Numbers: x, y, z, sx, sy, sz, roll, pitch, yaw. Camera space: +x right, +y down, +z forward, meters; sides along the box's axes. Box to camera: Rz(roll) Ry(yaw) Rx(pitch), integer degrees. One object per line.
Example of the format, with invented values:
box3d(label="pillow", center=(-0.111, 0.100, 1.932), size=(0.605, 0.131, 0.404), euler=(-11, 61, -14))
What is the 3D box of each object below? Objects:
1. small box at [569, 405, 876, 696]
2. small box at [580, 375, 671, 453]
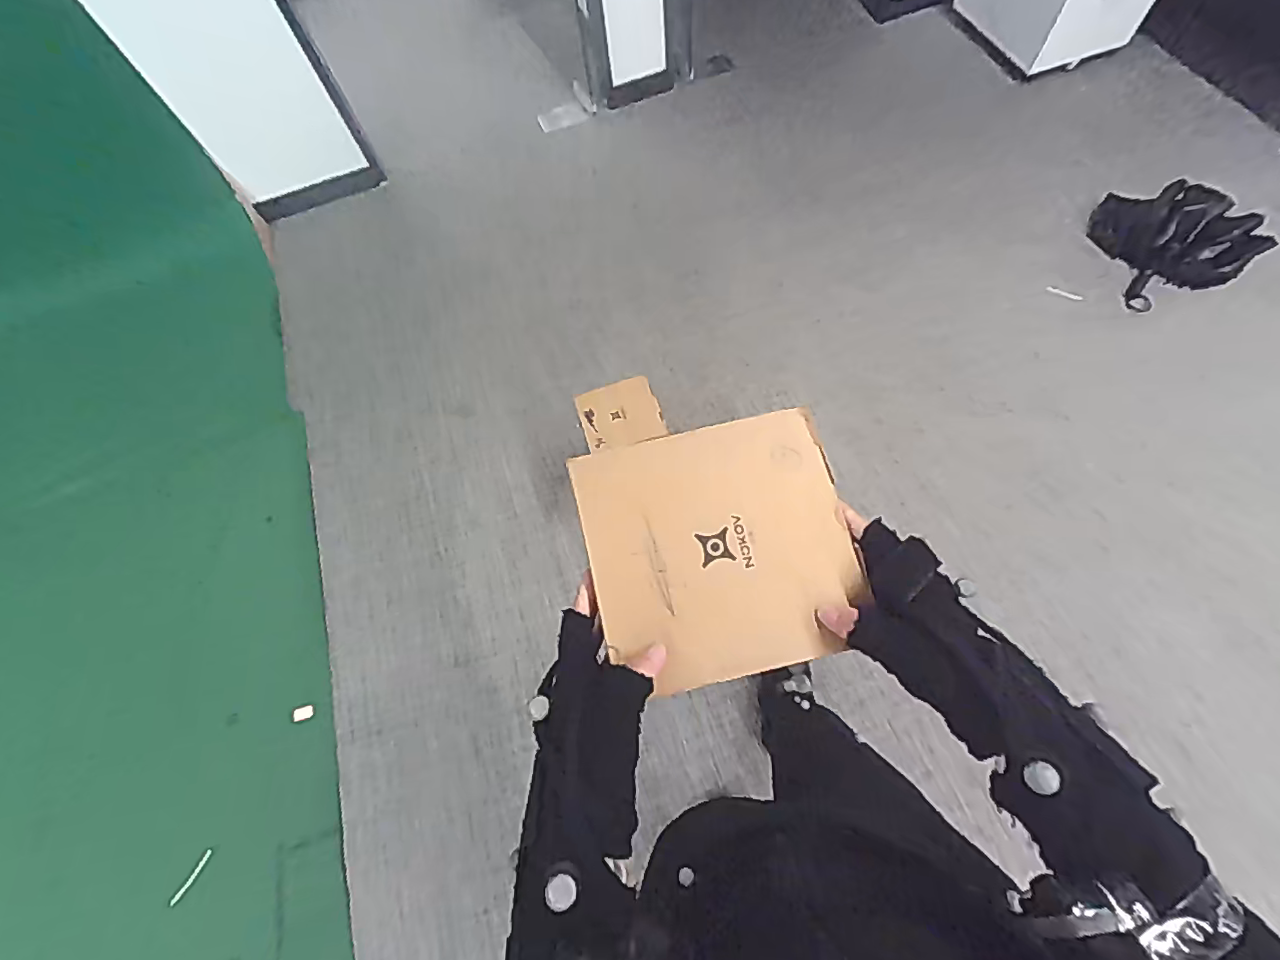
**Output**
box3d(label="small box", center=(0.054, 0.062, 0.443), size=(0.179, 0.176, 0.168), euler=(-15, 74, -2))
box3d(label="small box", center=(-0.029, -0.117, 1.283), size=(0.179, 0.176, 0.168), euler=(-17, 66, -2))
